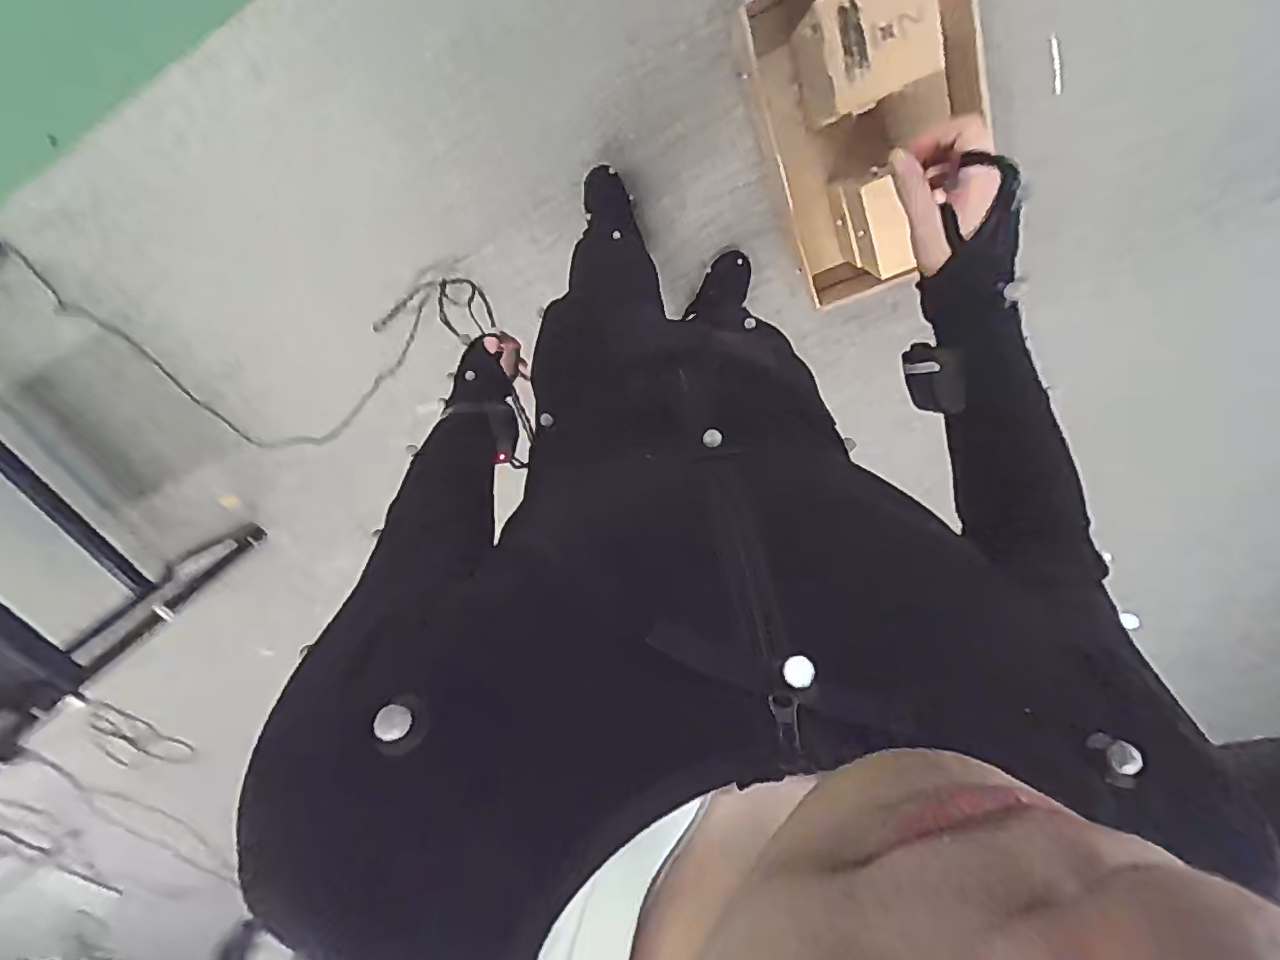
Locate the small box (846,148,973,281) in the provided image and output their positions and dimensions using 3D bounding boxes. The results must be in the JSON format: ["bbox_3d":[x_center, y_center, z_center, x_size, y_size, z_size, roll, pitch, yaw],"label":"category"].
[{"bbox_3d":[0.515,-0.512,1.052,0.168,0.176,0.179,-18,115,17],"label":"small box"}]
